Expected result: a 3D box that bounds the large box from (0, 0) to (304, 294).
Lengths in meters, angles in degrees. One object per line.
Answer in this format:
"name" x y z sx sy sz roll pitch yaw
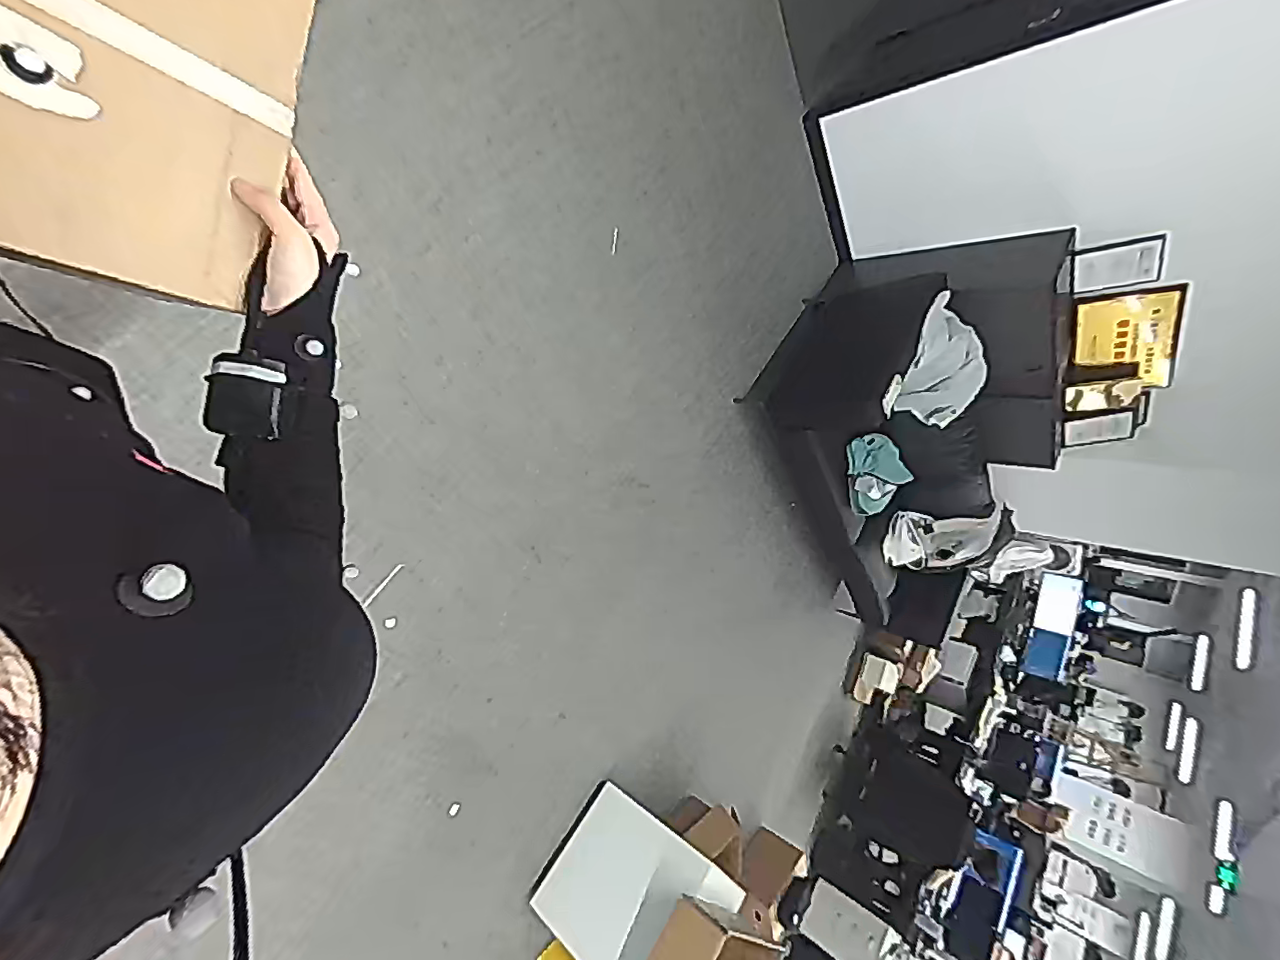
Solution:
"large box" -0.525 -0.351 0.372 0.408 0.320 0.320 9 98 -53
